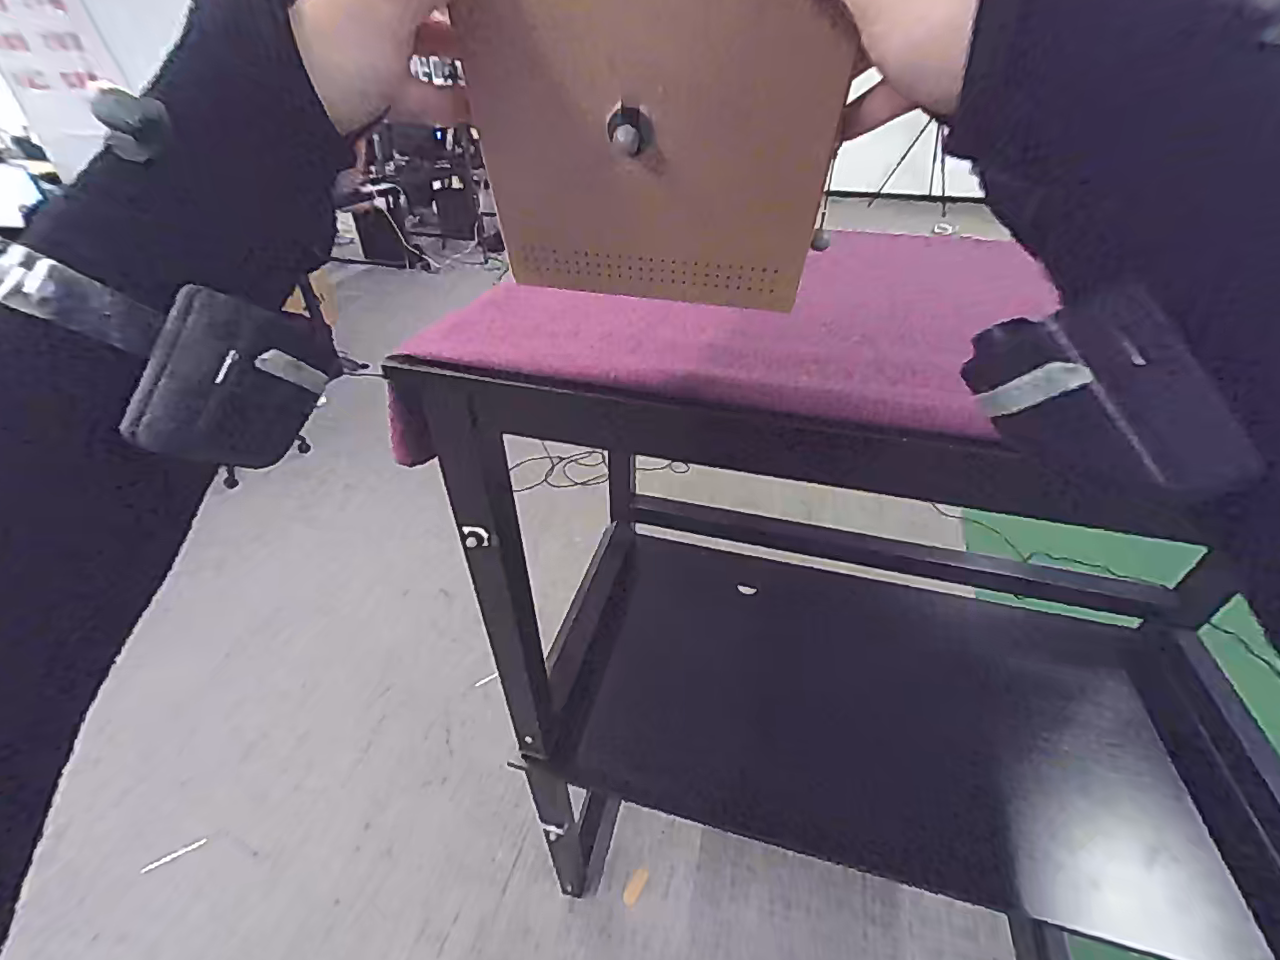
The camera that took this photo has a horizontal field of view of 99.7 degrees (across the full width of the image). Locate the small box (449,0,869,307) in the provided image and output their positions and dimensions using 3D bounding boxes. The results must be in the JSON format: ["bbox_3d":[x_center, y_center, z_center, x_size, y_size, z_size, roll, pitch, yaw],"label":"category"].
[{"bbox_3d":[0.020,-0.222,0.314,0.179,0.176,0.168,8,55,8],"label":"small box"}]
